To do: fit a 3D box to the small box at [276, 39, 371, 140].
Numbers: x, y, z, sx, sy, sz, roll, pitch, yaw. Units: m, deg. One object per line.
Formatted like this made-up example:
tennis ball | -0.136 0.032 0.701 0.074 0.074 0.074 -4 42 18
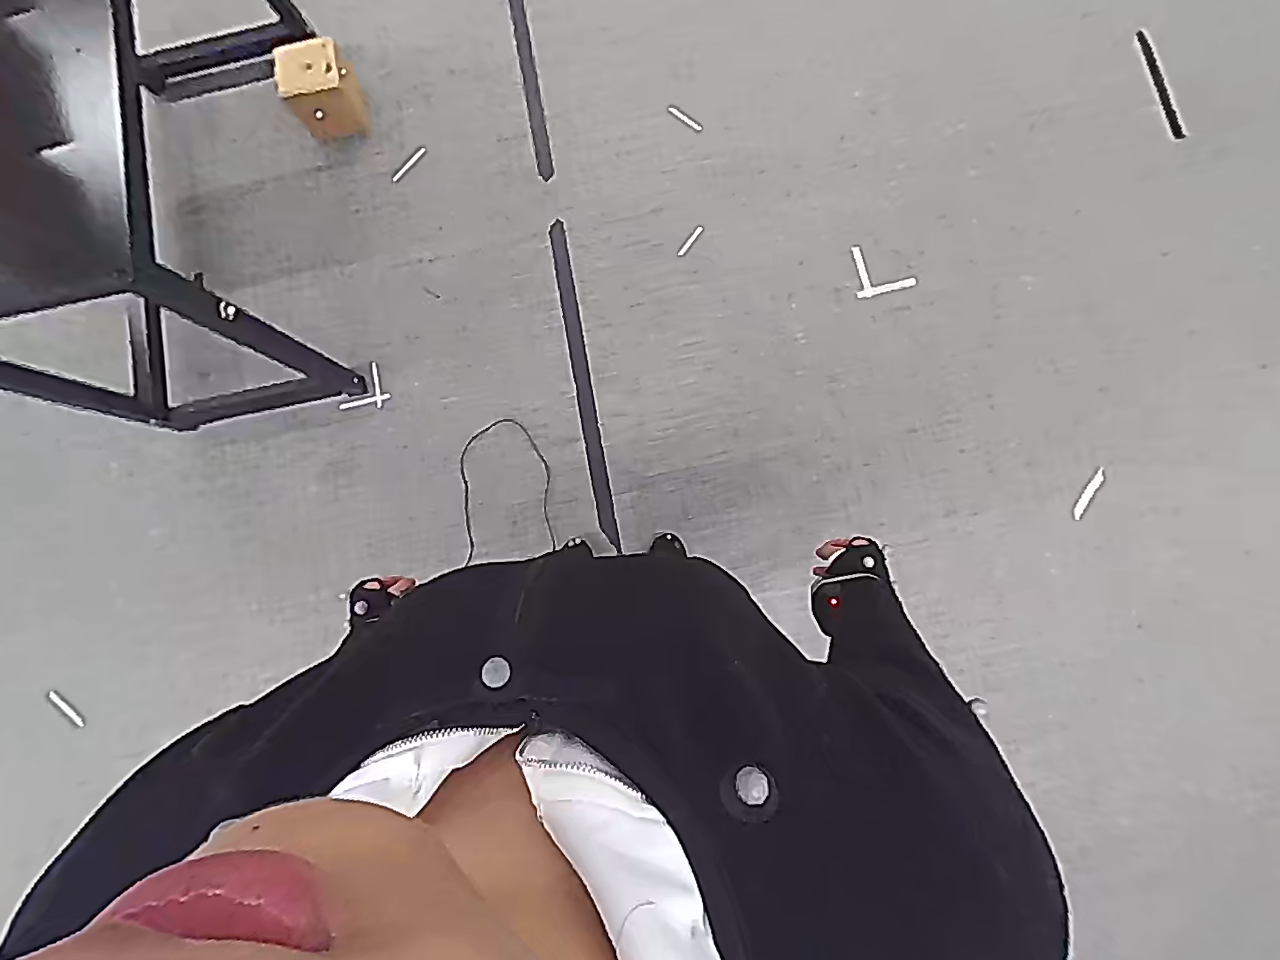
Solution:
small box | -0.942 -1.159 1.620 0.179 0.176 0.168 -12 84 1
